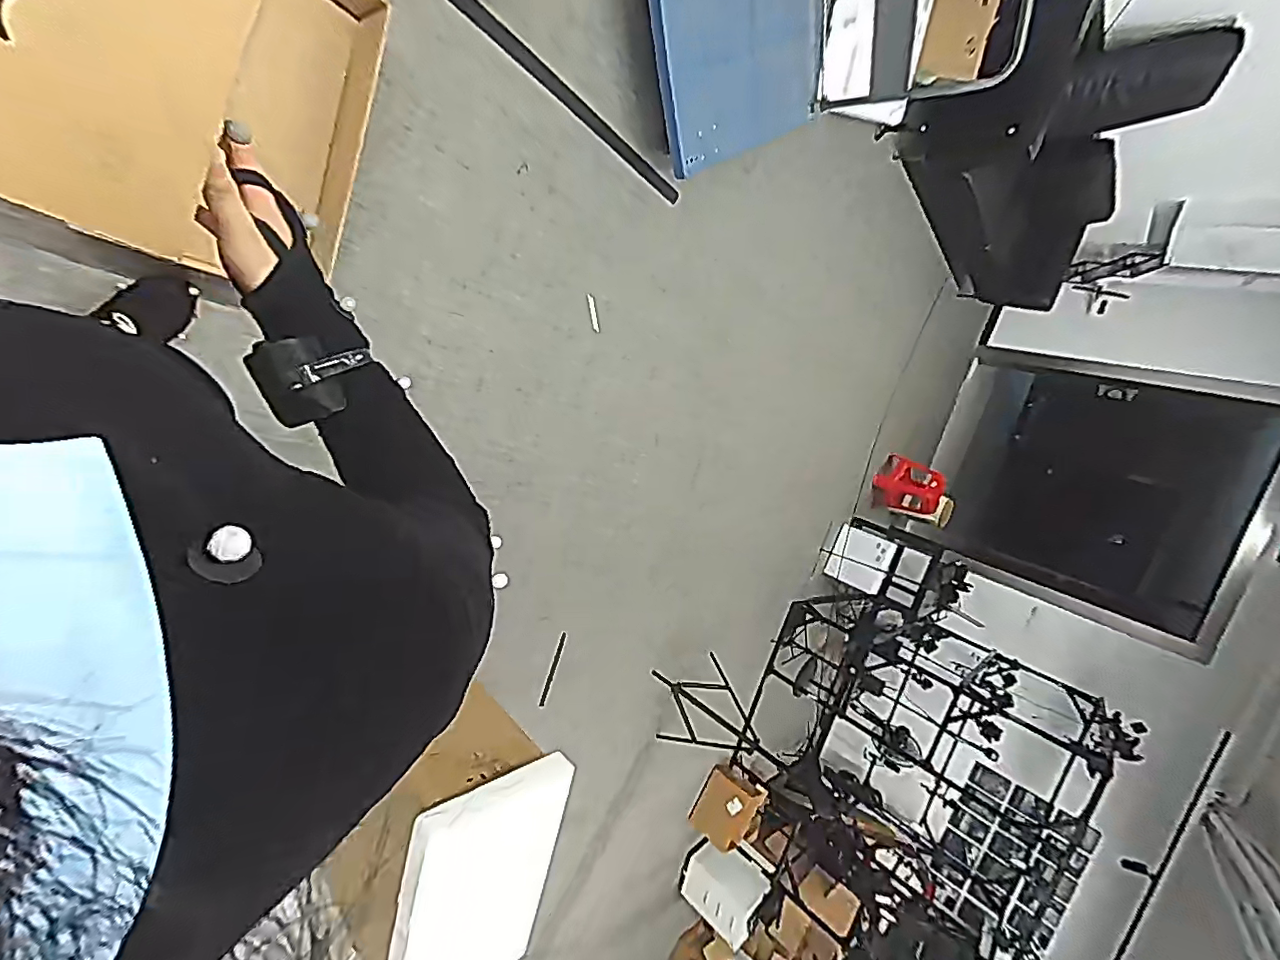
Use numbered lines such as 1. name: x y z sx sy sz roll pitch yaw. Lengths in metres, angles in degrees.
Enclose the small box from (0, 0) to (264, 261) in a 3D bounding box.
1. small box: -0.308 -0.247 0.266 0.168 0.176 0.179 16 111 -48
